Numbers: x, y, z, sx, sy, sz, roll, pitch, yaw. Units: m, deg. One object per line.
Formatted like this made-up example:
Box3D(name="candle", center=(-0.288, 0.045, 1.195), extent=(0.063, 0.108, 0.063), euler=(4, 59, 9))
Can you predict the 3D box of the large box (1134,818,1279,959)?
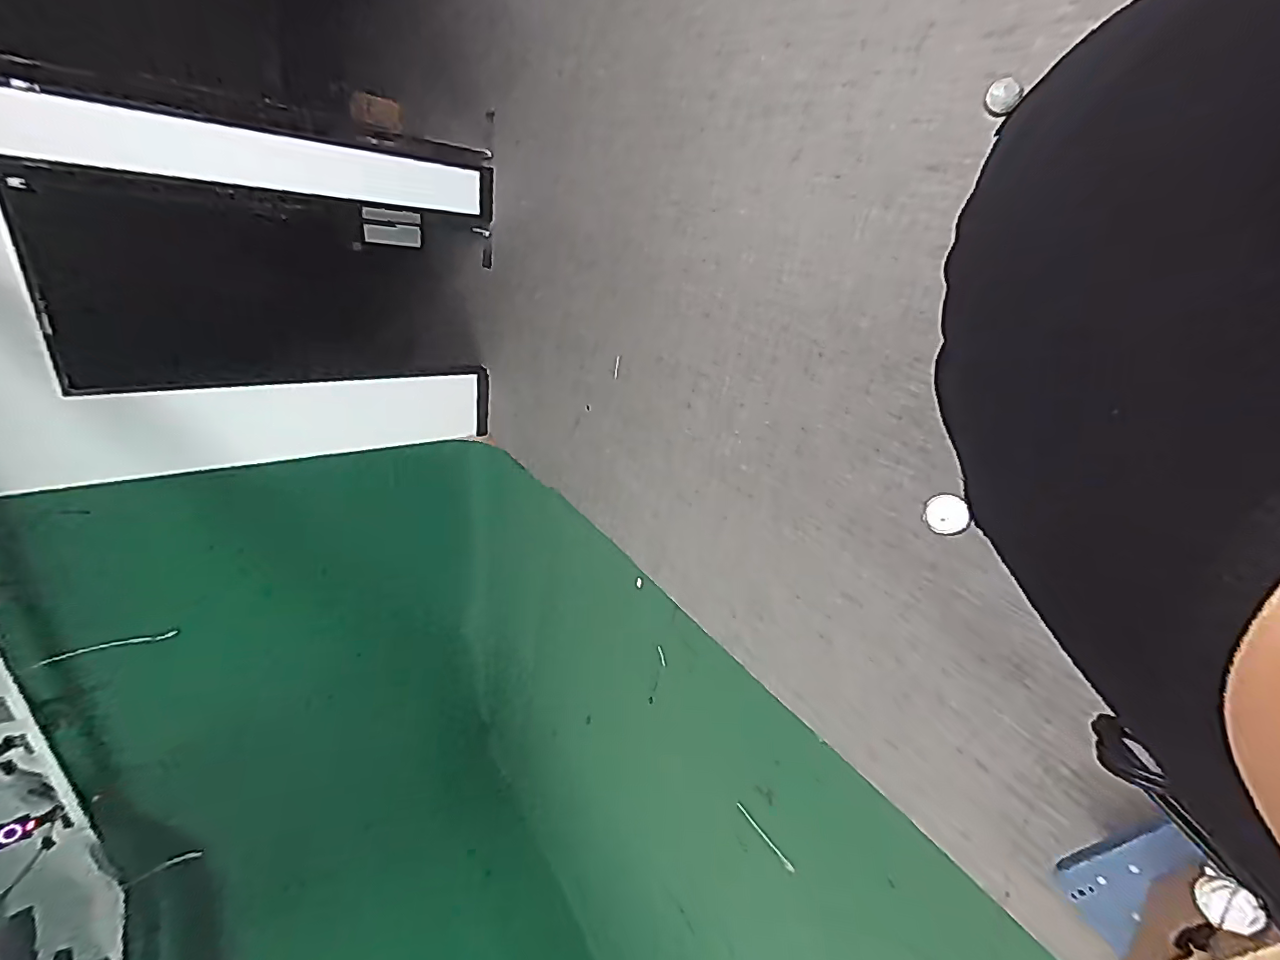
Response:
Box3D(name="large box", center=(1.059, 0.818, 0.787), extent=(0.408, 0.320, 0.320), euler=(45, 132, 34))
